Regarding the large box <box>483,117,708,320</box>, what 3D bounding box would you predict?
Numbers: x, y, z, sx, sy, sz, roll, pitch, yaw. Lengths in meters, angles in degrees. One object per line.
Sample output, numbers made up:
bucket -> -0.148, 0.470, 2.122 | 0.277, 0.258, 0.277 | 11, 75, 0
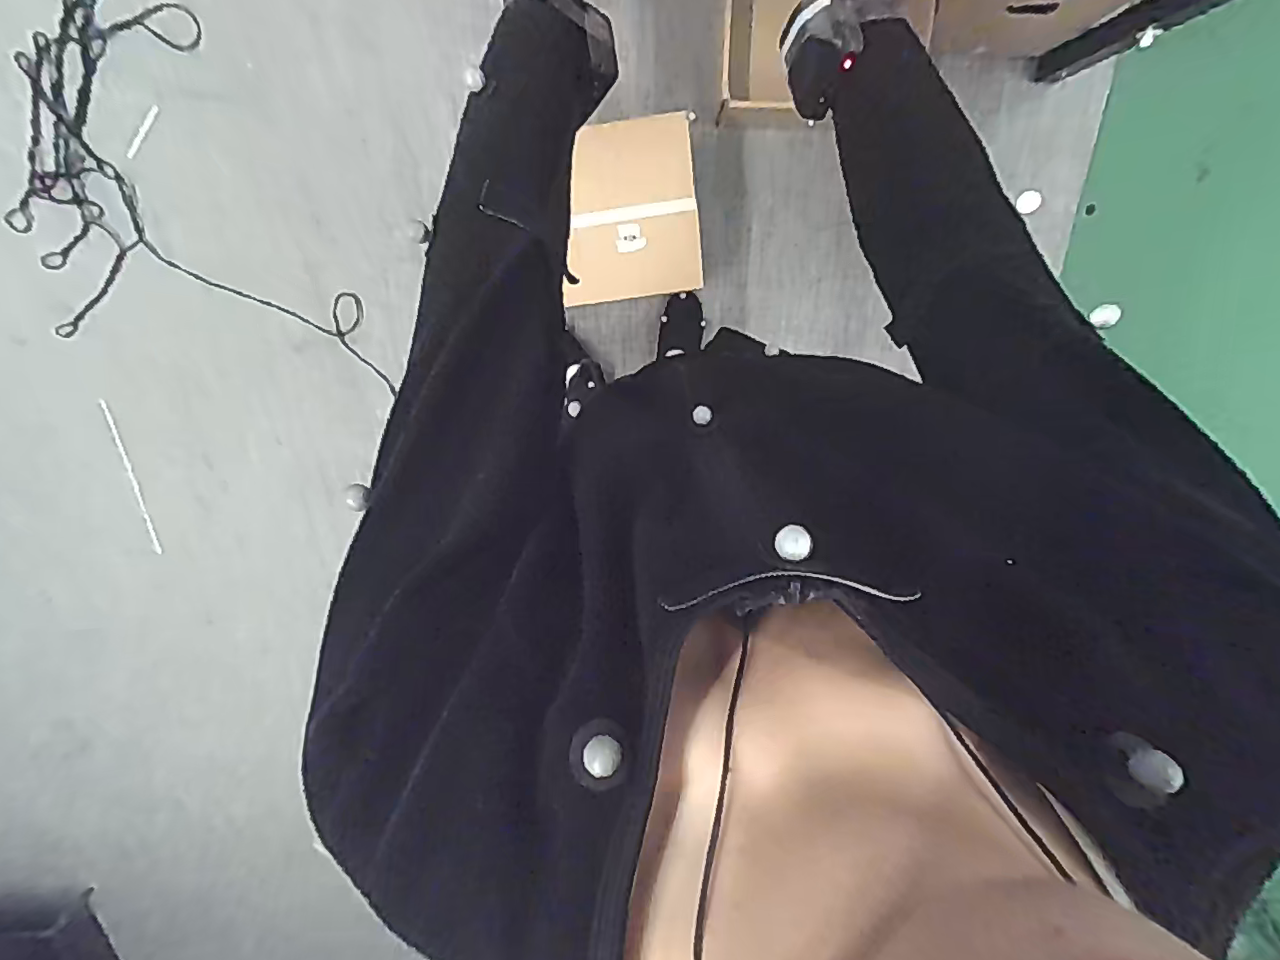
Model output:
large box -> -0.081, -0.542, 1.188 | 0.408, 0.320, 0.320 | -7, 109, 2
